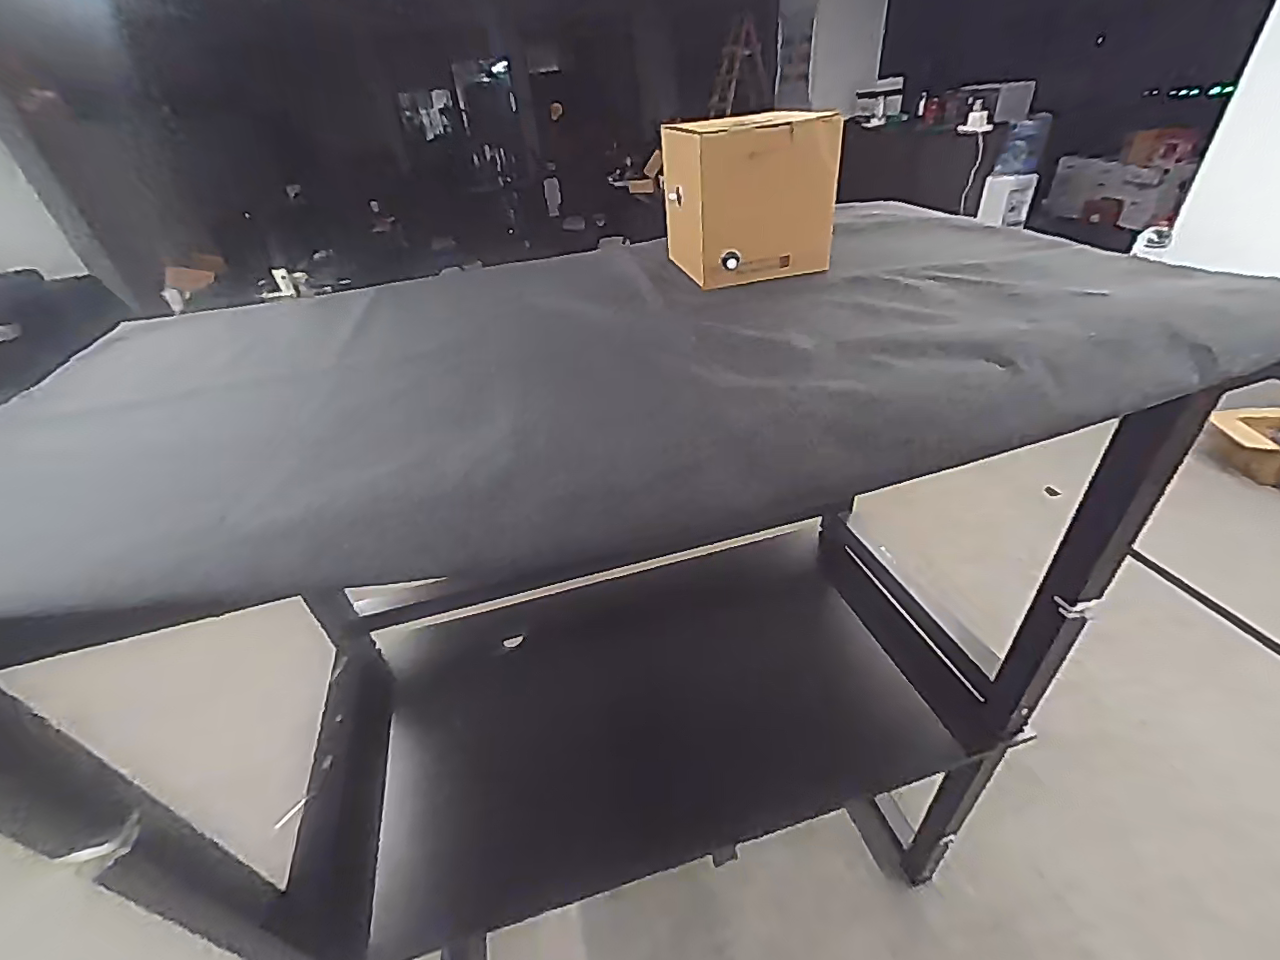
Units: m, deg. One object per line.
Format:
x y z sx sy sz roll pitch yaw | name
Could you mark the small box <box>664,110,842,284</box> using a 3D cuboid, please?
0.136 -0.361 0.694 0.168 0.176 0.179 -12 35 -6 | small box
